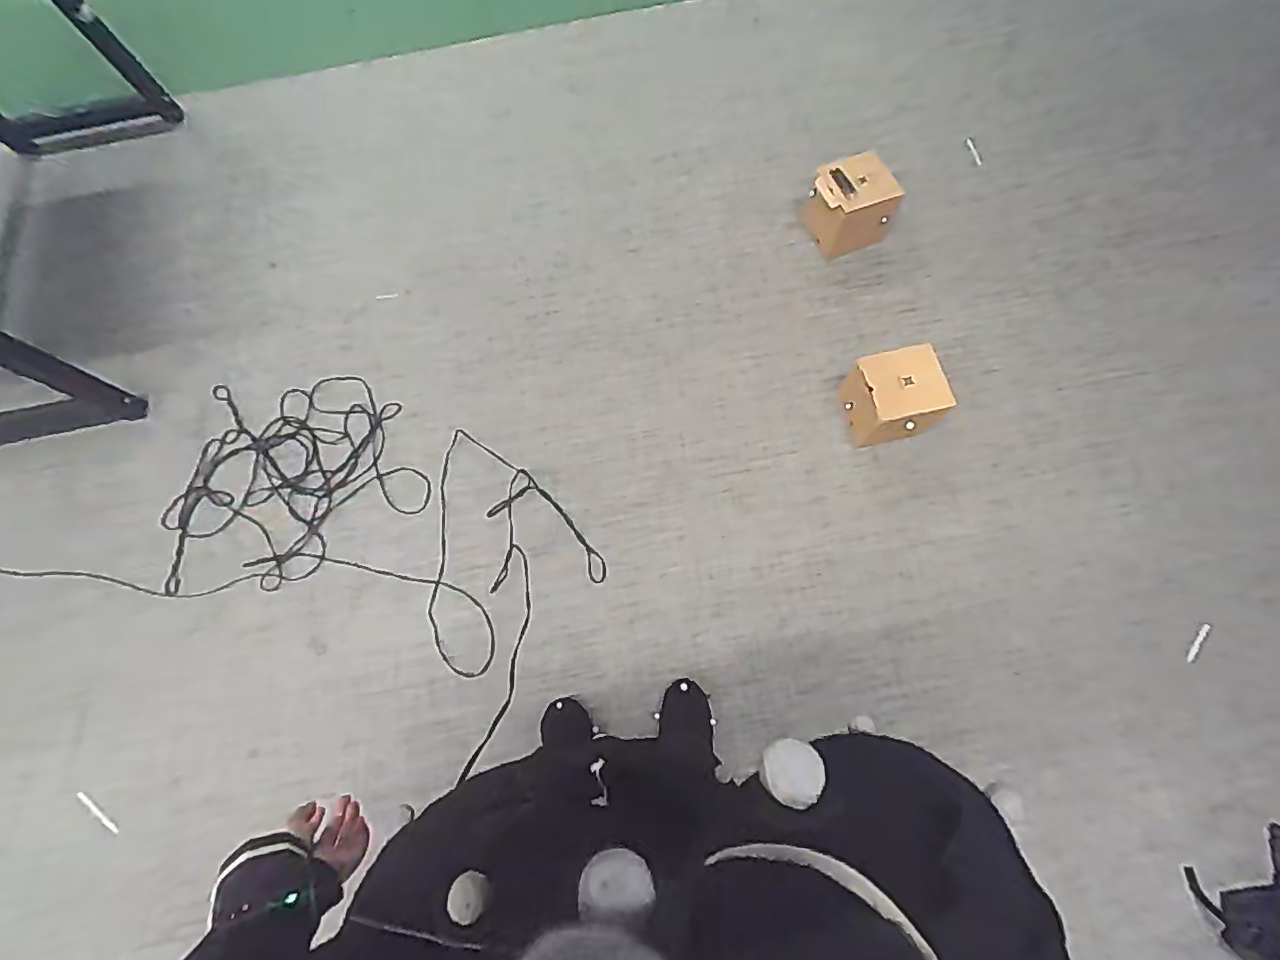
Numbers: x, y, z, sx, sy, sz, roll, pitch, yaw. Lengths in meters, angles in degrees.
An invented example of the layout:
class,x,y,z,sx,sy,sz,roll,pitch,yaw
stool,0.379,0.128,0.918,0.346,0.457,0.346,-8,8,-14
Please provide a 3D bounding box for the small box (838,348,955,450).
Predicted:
class,x,y,z,sx,sy,sz,roll,pitch,yaw
small box,0.602,-0.187,1.293,0.179,0.176,0.168,-13,72,0
